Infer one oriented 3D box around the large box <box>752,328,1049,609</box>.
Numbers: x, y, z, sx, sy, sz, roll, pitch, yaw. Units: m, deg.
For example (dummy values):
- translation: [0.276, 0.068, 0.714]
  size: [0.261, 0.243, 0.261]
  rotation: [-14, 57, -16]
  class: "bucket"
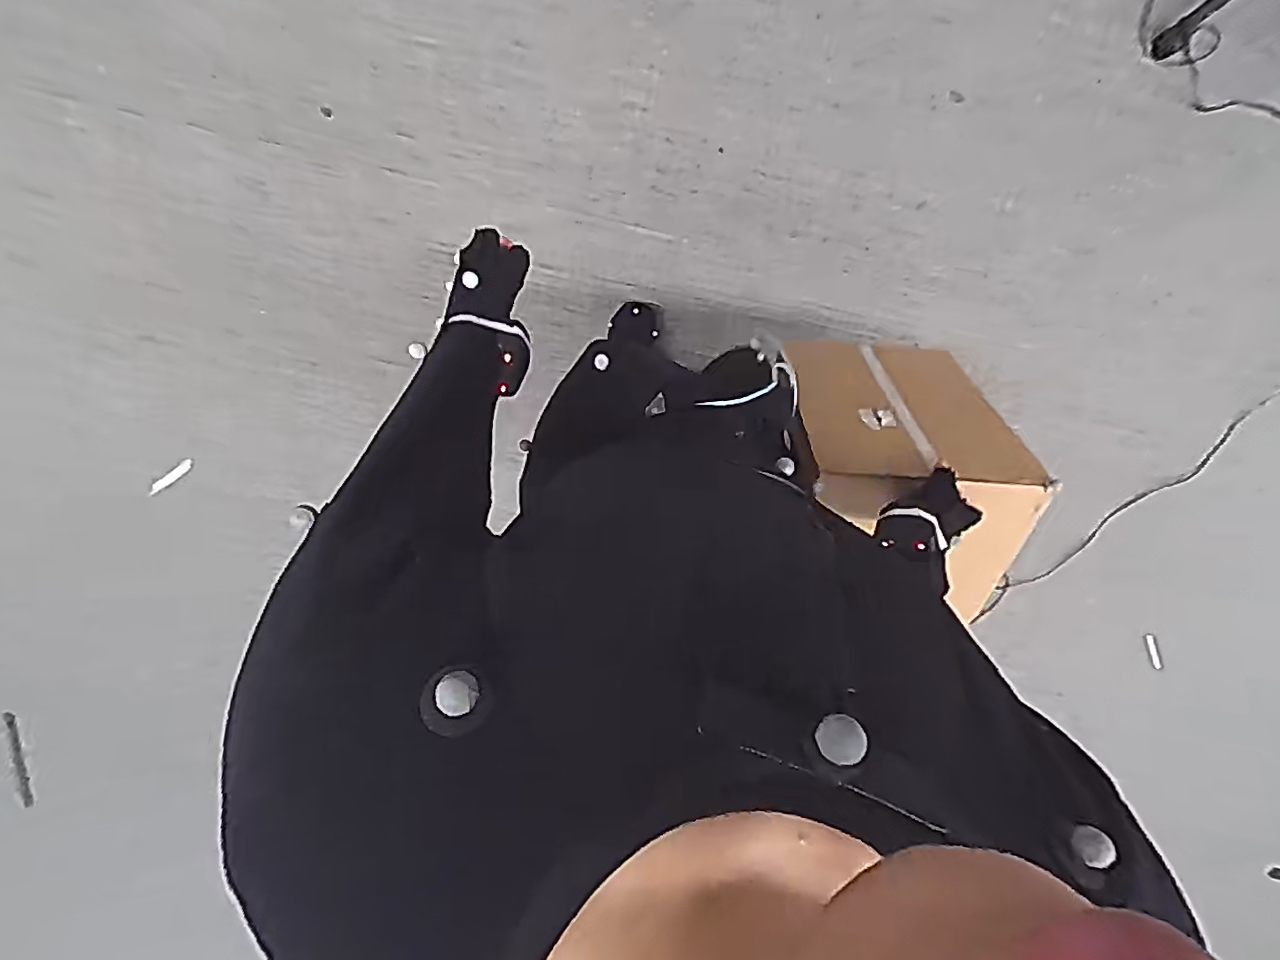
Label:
- translation: [0.395, -0.032, 0.961]
  size: [0.320, 0.408, 0.320]
  rotation: [2, 132, 3]
  class: "large box"
